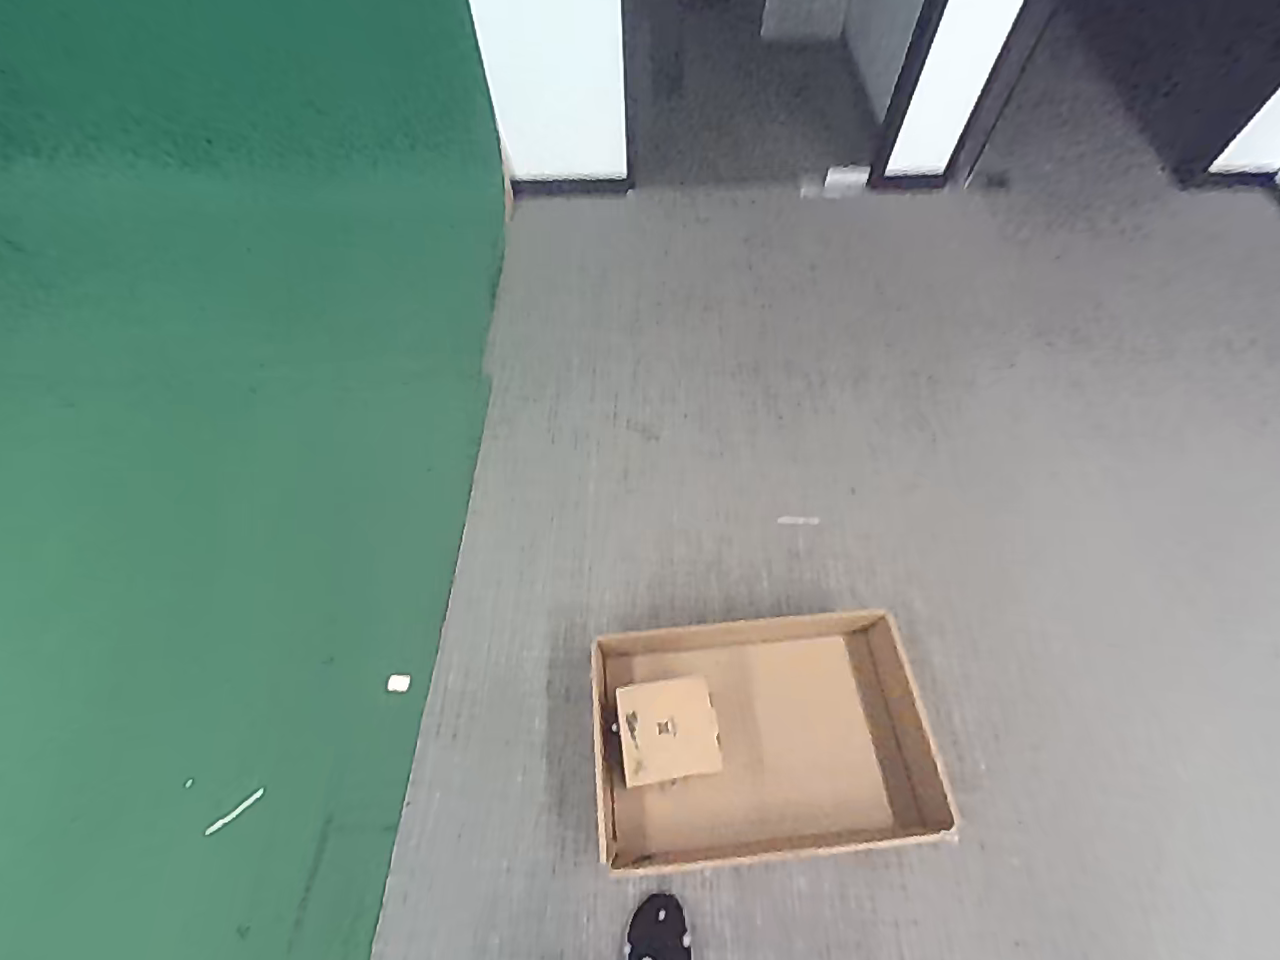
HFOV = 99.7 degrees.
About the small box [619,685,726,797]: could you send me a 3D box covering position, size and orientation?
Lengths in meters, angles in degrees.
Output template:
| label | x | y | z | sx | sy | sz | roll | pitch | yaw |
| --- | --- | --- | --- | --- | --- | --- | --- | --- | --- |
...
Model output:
| label | x | y | z | sx | sy | sz | roll | pitch | yaw |
| --- | --- | --- | --- | --- | --- | --- | --- | --- | --- |
| small box | 0.054 | 0.505 | 1.044 | 0.179 | 0.176 | 0.168 | -7 | 58 | -4 |
